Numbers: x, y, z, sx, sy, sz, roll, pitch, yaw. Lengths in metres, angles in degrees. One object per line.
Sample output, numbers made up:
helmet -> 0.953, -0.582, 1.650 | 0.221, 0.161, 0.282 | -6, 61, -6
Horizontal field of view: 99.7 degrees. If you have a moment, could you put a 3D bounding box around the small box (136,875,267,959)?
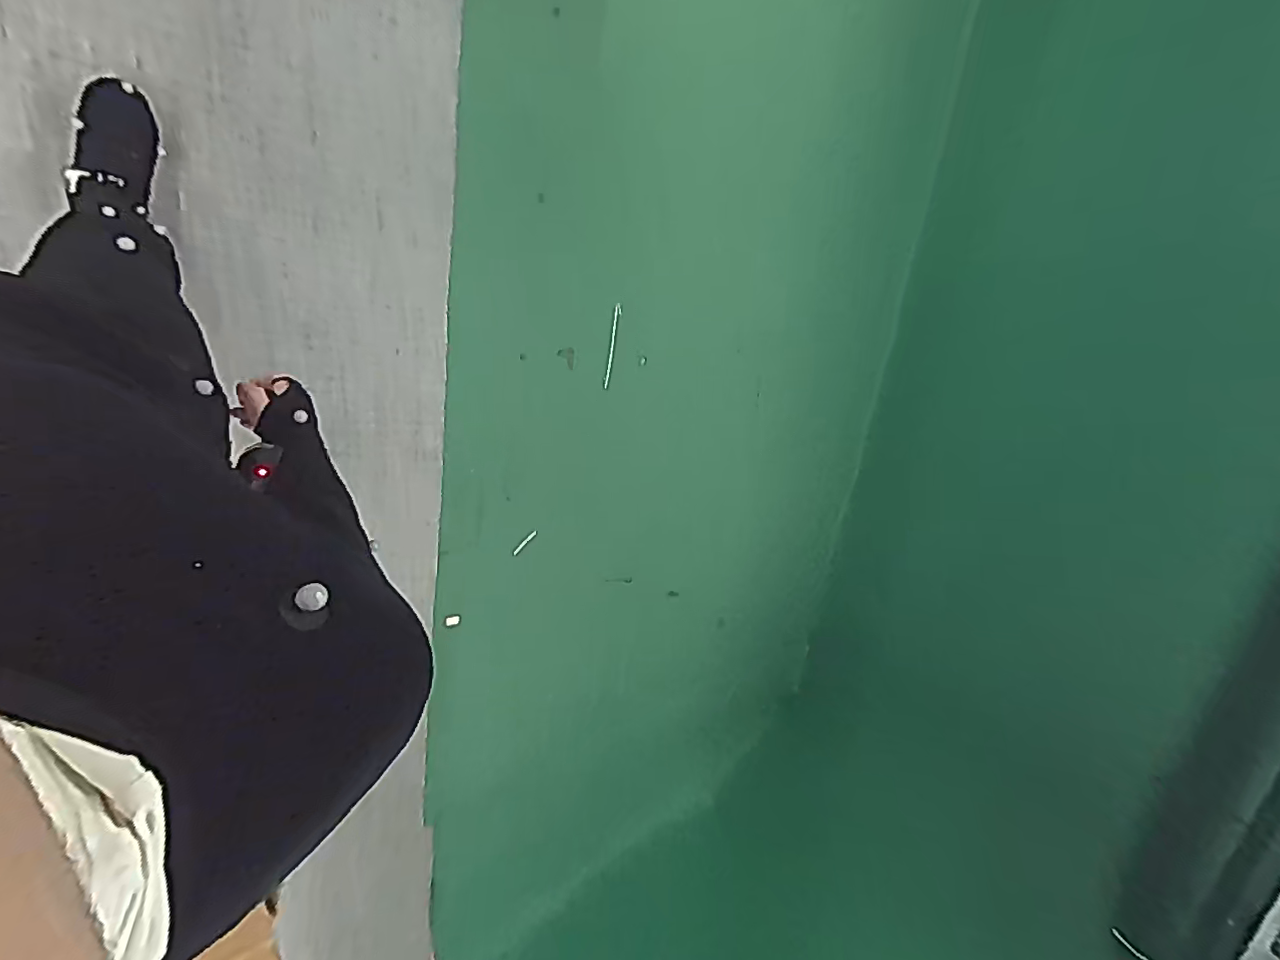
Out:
small box -> -0.810, 0.894, 0.997 | 0.168, 0.176, 0.179 | -2, 108, -47

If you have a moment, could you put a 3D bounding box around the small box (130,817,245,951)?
small box -> -0.924, 0.845, 1.105 | 0.168, 0.176, 0.179 | -5, 110, -46
